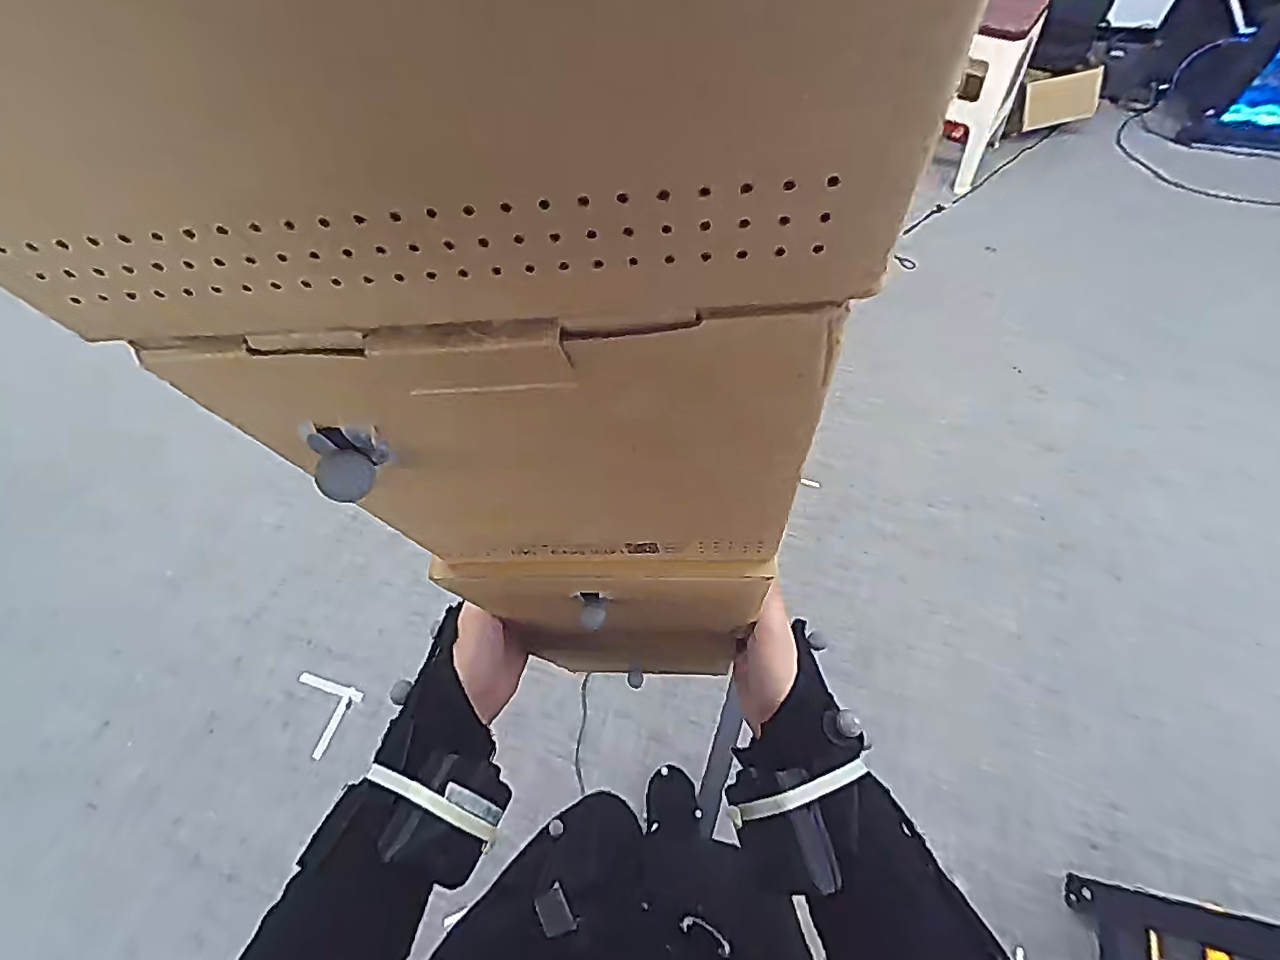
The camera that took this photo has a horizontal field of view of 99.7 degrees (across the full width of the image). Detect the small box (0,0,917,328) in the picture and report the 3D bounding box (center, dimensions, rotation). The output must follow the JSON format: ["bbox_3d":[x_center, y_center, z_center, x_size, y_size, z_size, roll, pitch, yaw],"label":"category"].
[{"bbox_3d":[-0.048,-0.141,0.077,0.179,0.176,0.168,-1,64,8],"label":"small box"}]

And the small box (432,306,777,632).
[{"bbox_3d":[-0.010,0.006,0.370,0.179,0.176,0.168,-2,65,7],"label":"small box"}]

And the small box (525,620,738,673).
[{"bbox_3d":[0.004,0.082,0.514,0.168,0.176,0.179,-1,66,7],"label":"small box"}]
